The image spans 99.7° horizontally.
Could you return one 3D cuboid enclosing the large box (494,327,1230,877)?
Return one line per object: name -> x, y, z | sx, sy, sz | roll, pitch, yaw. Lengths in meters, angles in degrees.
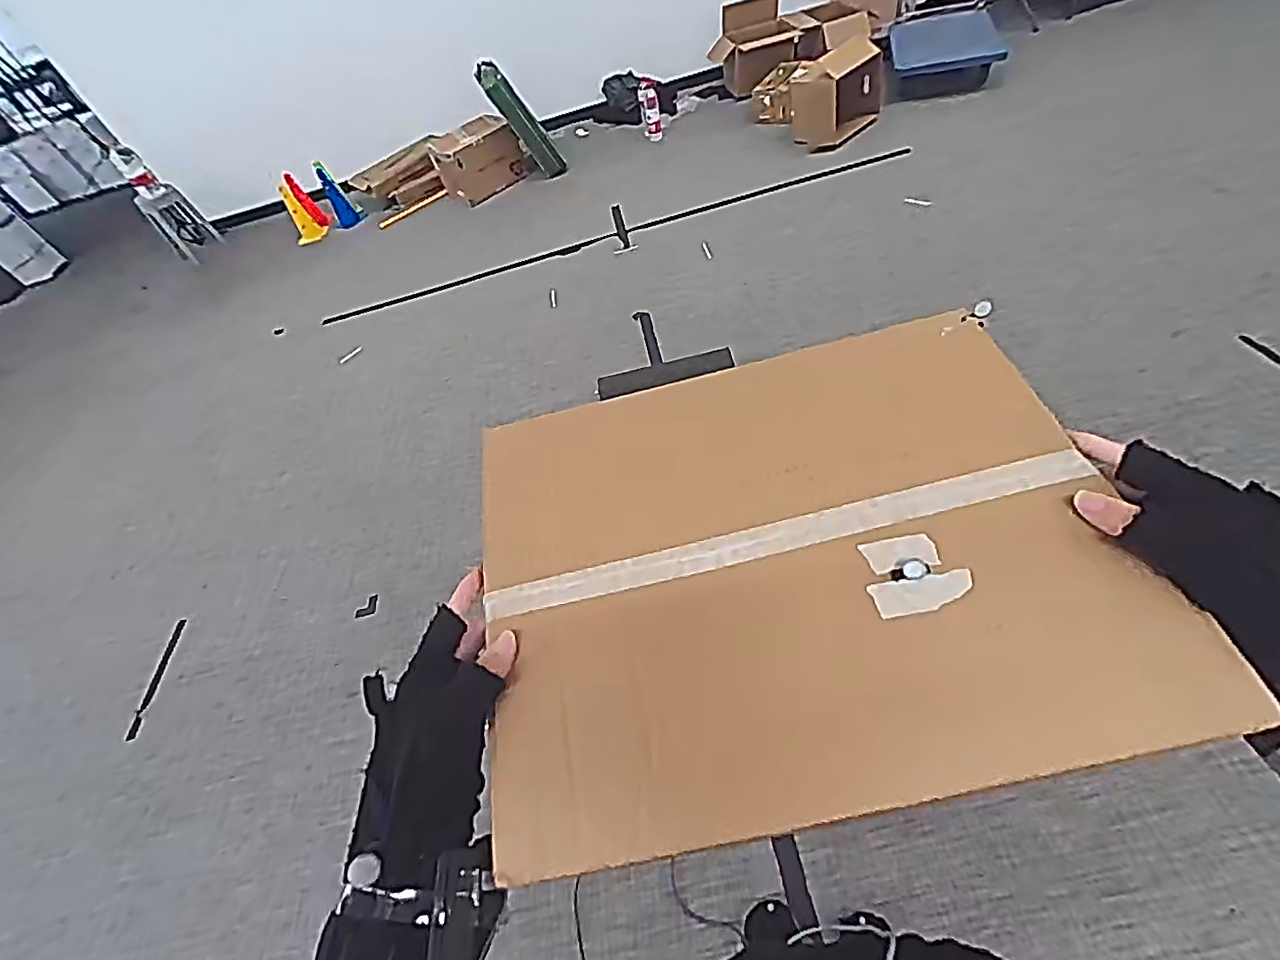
large box -> 0.118, 0.123, 0.496 | 0.408, 0.320, 0.320 | -14, 57, 2
